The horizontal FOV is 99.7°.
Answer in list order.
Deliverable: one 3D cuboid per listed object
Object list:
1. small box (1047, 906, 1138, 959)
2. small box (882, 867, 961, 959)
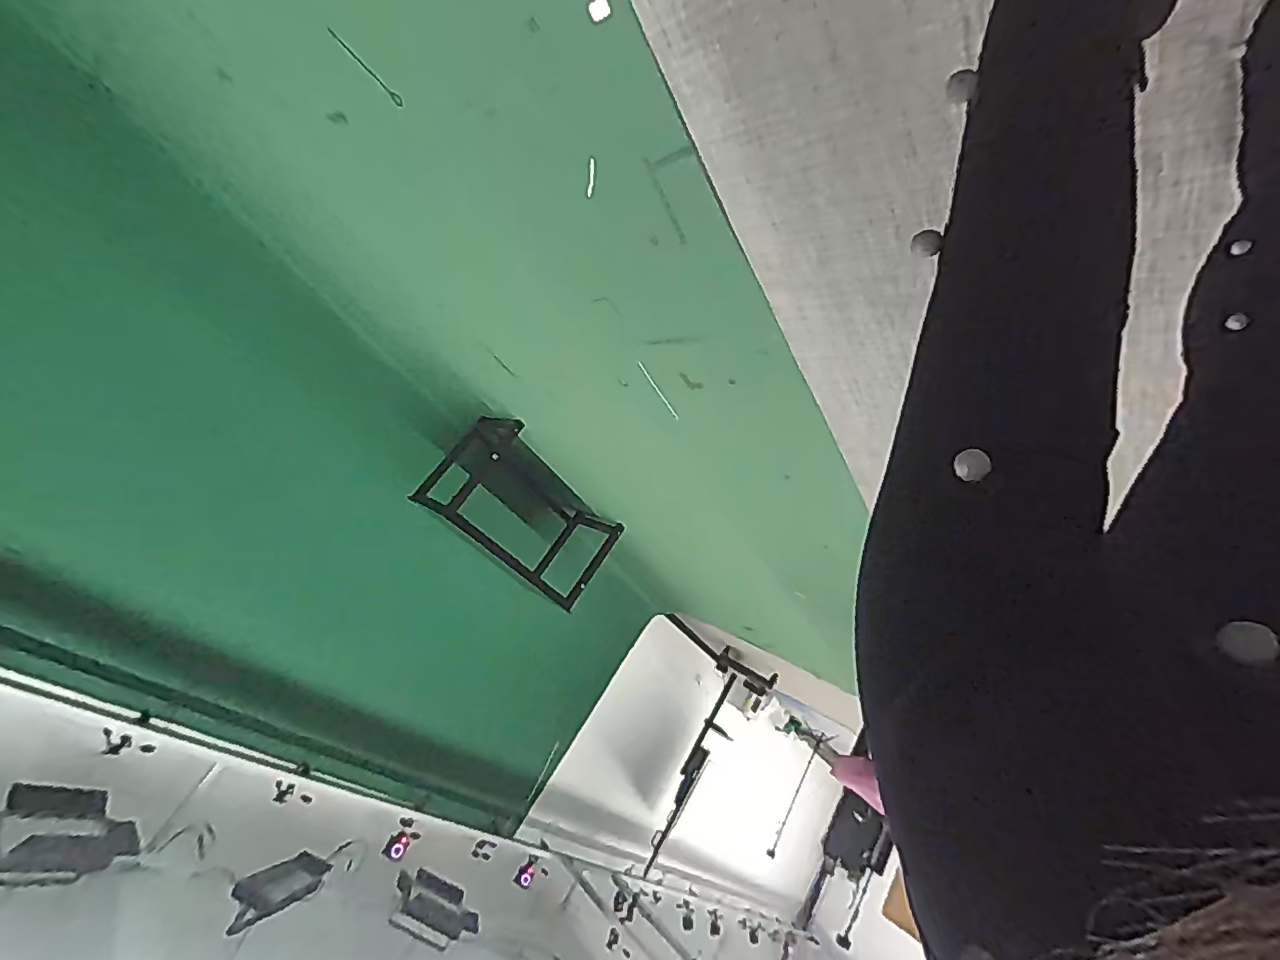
[{"bbox_3d":[1.275,1.350,1.522,0.168,0.176,0.179,12,152,48],"label":"small box"},{"bbox_3d":[0.914,1.397,1.745,0.168,0.176,0.179,13,151,47],"label":"small box"}]
